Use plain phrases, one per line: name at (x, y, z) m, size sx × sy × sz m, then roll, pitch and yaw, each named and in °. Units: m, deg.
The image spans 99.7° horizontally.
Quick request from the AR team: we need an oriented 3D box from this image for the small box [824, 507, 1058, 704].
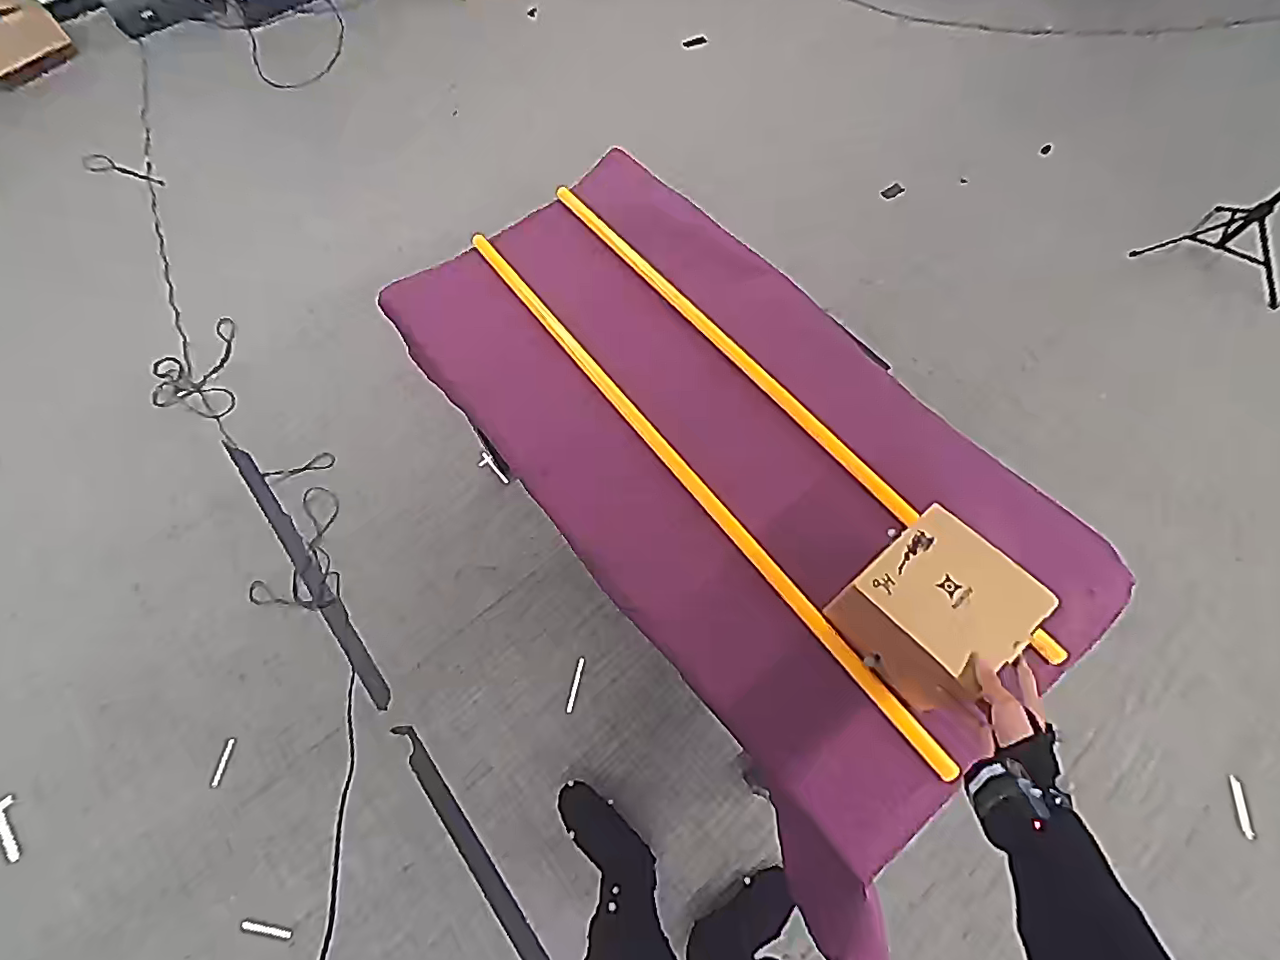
small box at (0.376, 0.172, 0.711) m, size 0.168 × 0.176 × 0.179 m, roll -38°, pitch 68°, yaw -15°
